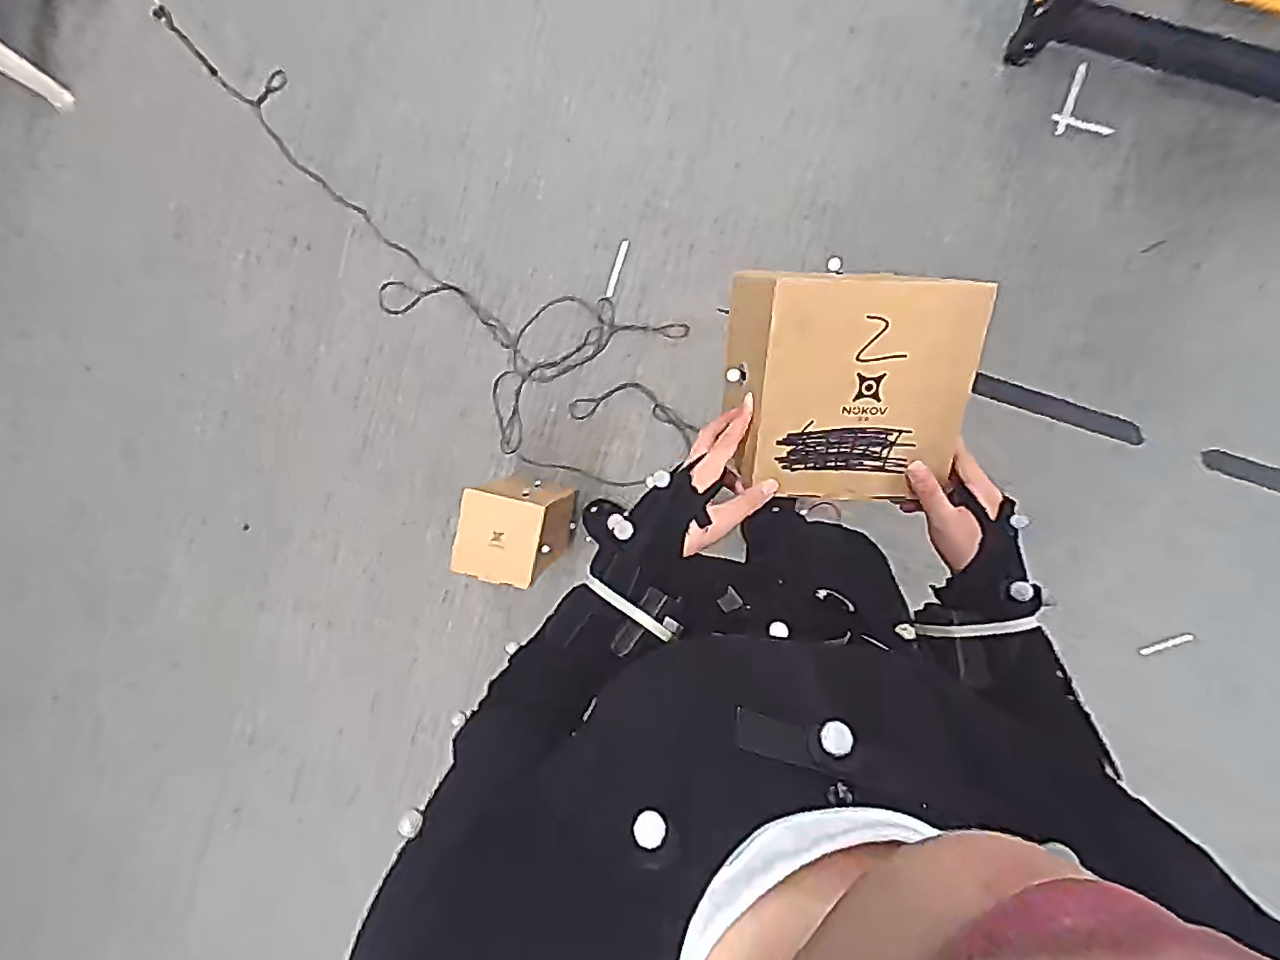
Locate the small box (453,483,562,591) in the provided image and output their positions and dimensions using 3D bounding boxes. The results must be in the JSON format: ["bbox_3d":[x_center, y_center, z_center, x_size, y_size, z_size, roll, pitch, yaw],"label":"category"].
[{"bbox_3d":[-0.272,0.111,1.146,0.168,0.176,0.179,13,98,3],"label":"small box"}]

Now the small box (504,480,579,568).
[{"bbox_3d":[-0.259,0.099,1.307,0.179,0.176,0.168,11,97,3],"label":"small box"}]
